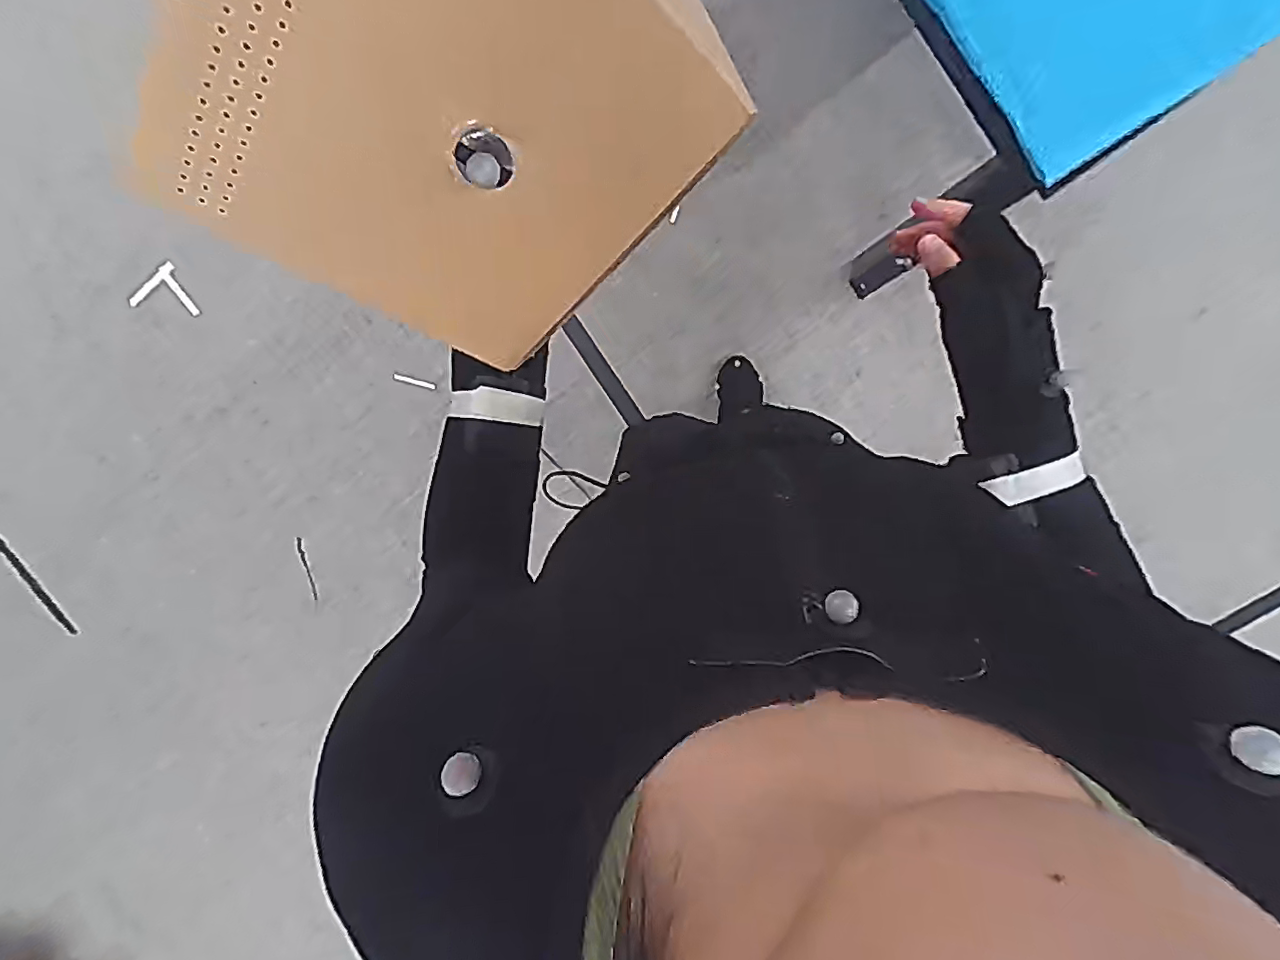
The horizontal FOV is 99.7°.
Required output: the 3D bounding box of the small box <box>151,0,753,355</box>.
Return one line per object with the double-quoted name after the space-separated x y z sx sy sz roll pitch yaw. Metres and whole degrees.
-0.084 -0.198 0.245 0.179 0.176 0.168 -35 50 35 "small box"
